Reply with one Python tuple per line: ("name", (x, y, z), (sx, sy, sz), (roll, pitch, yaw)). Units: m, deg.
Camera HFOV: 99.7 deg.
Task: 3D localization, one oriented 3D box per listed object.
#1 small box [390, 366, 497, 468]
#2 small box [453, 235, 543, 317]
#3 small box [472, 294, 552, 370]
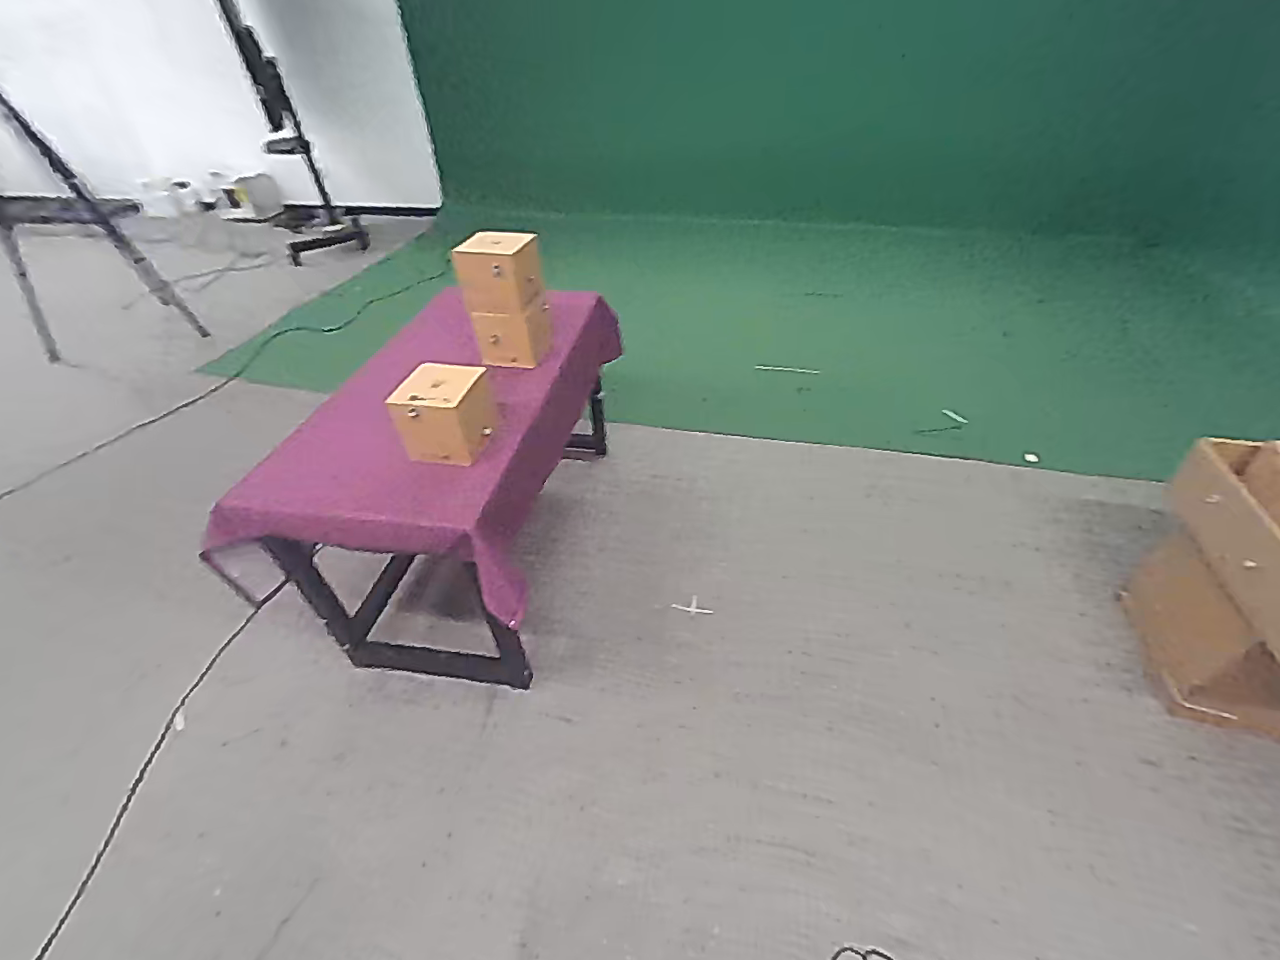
("small box", (-0.455, -0.152, 1.290), (0.168, 0.176, 0.179), (5, 41, 10))
("small box", (-0.388, -0.571, 1.517), (0.179, 0.176, 0.168), (8, 42, 13))
("small box", (-0.376, -0.446, 1.624), (0.168, 0.176, 0.179), (6, 42, 11))
